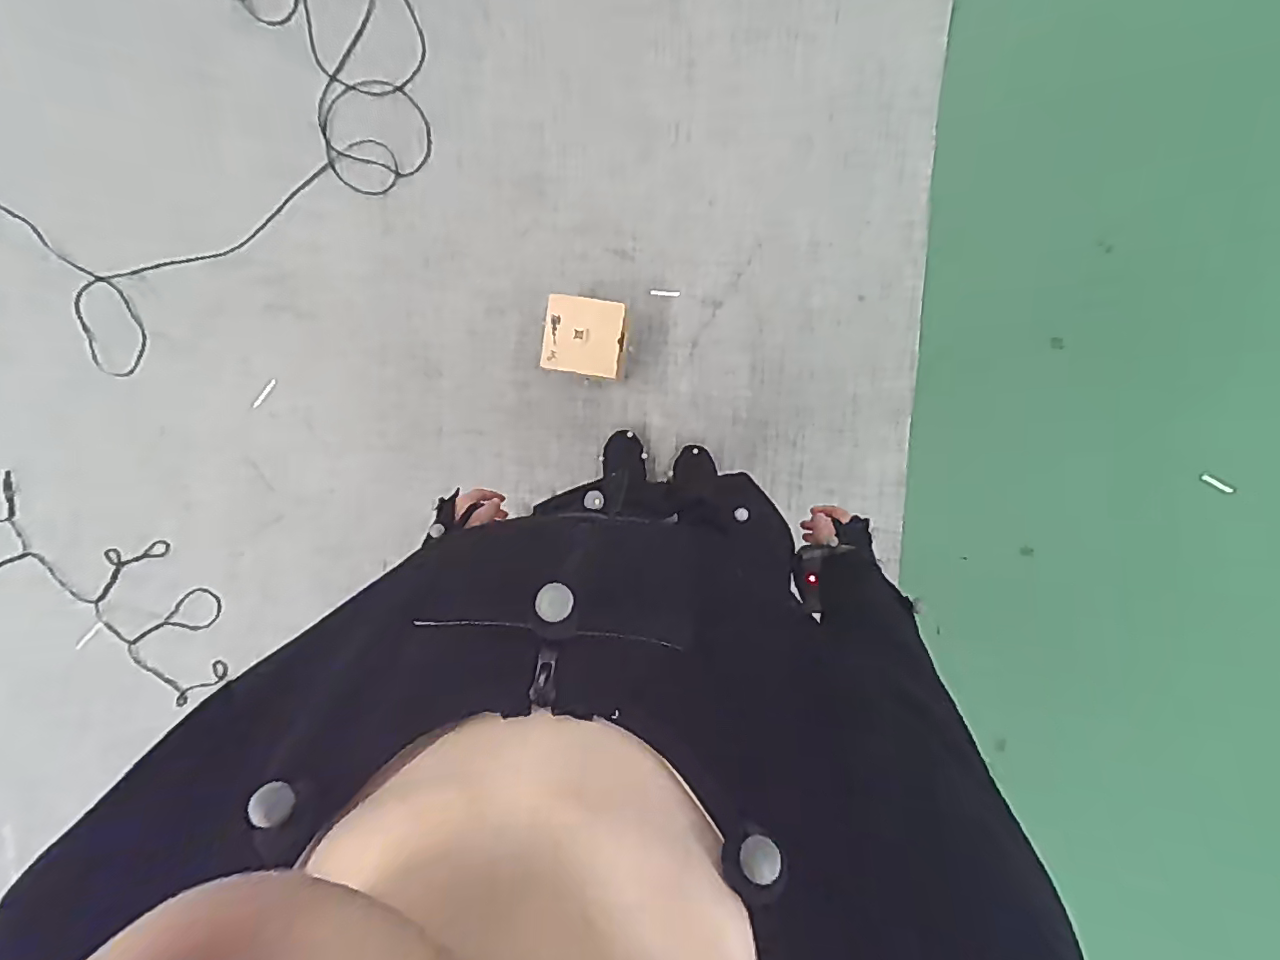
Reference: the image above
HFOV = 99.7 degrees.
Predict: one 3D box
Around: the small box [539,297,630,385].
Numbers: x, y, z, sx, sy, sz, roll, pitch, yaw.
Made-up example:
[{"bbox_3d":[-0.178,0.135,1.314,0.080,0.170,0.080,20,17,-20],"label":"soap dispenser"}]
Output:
[{"bbox_3d":[-0.123,-0.320,1.275,0.179,0.176,0.168,9,97,4],"label":"small box"}]
